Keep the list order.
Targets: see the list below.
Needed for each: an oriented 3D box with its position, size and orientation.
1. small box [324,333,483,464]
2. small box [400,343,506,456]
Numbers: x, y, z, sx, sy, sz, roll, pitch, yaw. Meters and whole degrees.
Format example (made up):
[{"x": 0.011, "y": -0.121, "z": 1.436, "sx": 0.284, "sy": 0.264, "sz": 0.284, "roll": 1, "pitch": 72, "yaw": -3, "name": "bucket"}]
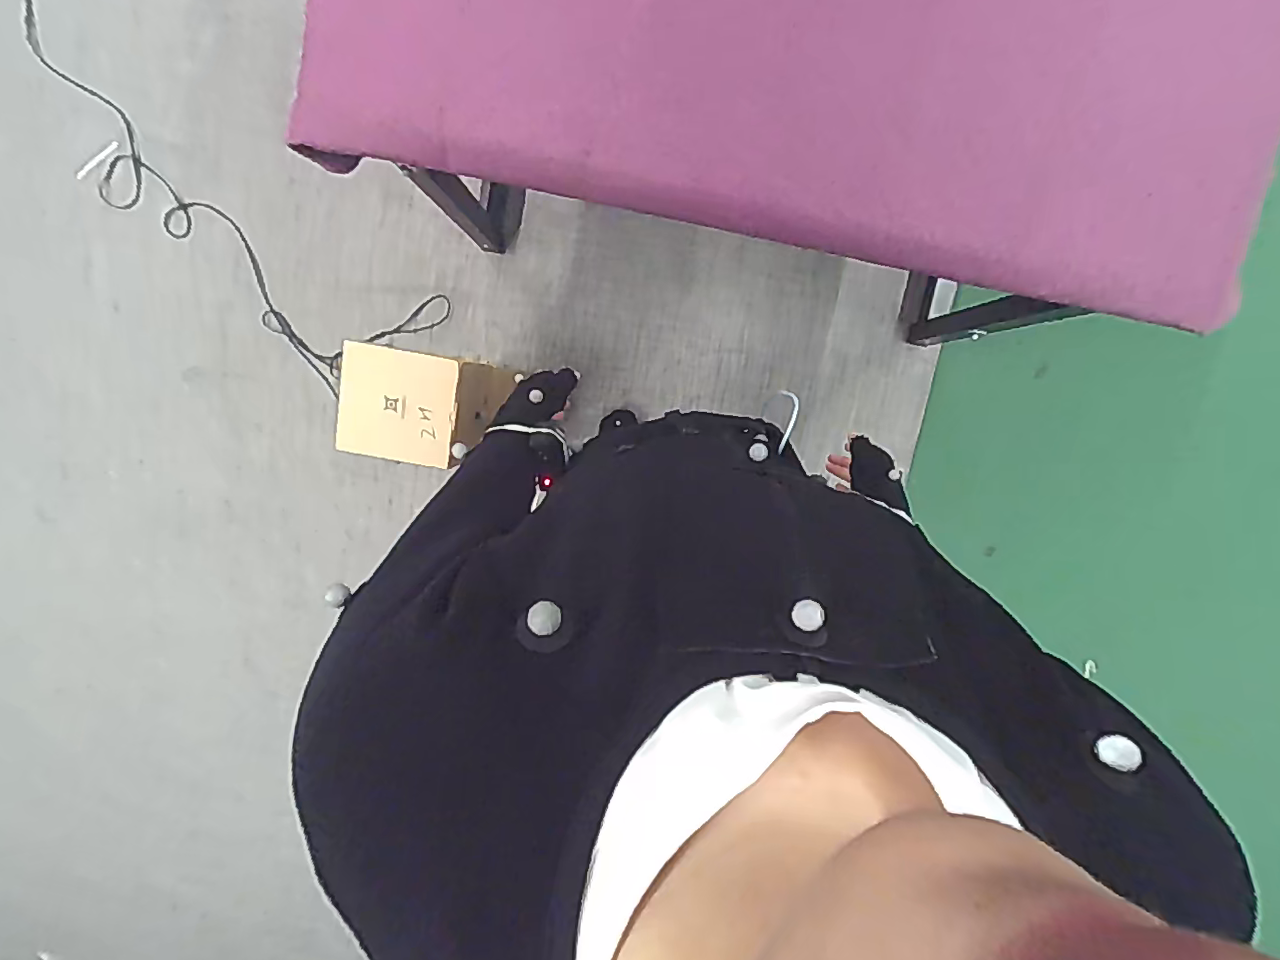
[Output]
[{"x": -0.373, "y": -0.131, "z": 0.877, "sx": 0.179, "sy": 0.176, "sz": 0.168, "roll": 11, "pitch": 100, "yaw": -2, "name": "small box"}, {"x": -0.363, "y": -0.155, "z": 1.040, "sx": 0.168, "sy": 0.176, "sz": 0.179, "roll": 11, "pitch": 100, "yaw": -2, "name": "small box"}]
